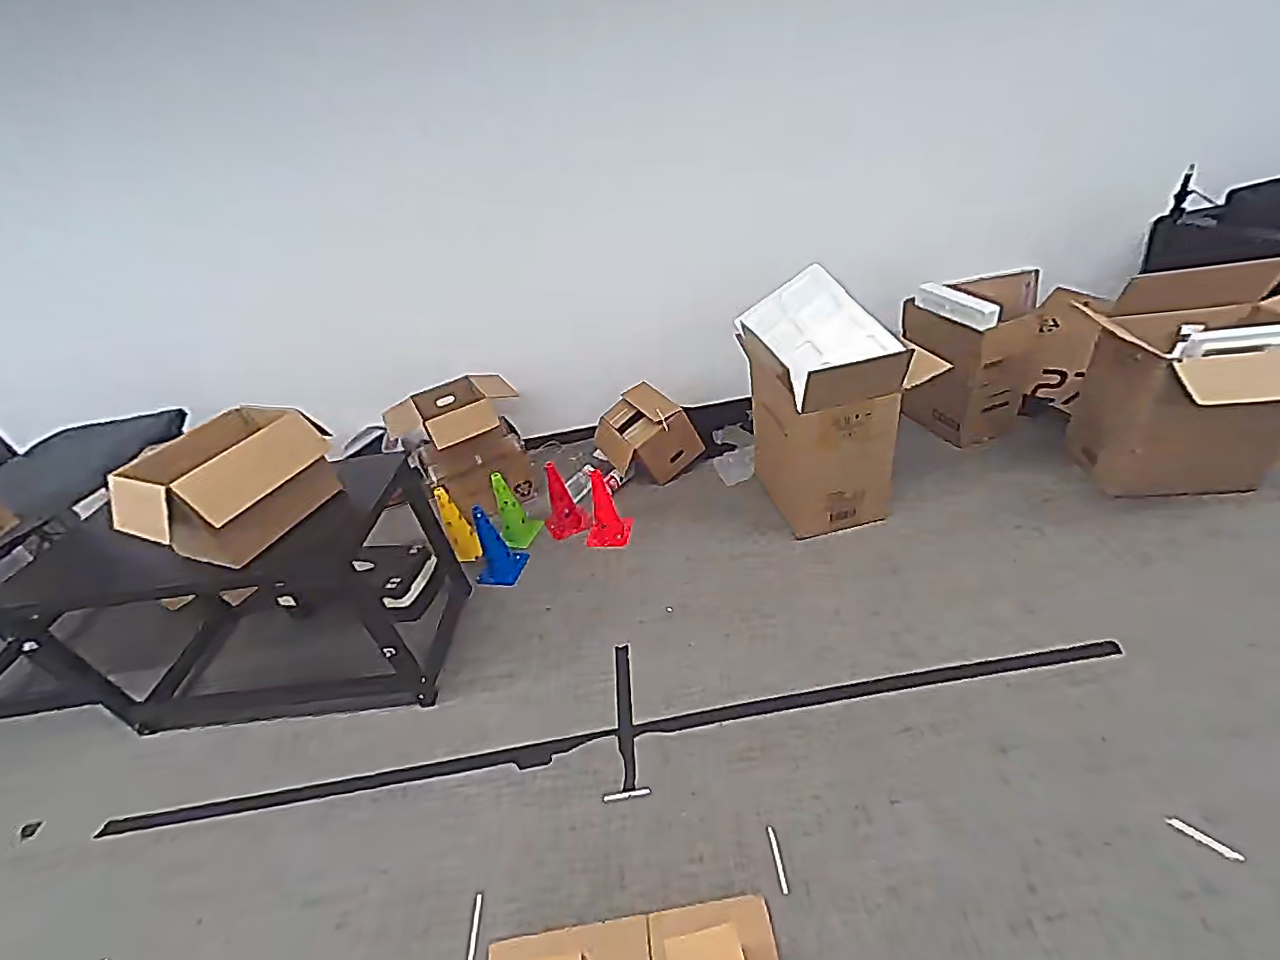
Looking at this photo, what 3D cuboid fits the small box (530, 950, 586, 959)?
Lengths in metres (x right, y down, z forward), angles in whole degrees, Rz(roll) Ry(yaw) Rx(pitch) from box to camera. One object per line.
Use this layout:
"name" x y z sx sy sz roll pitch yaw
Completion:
"small box" -0.184 1.151 1.151 0.168 0.176 0.179 -12 35 1

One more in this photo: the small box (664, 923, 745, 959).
"small box" 0.155 1.093 1.149 0.168 0.176 0.179 -13 35 -2
